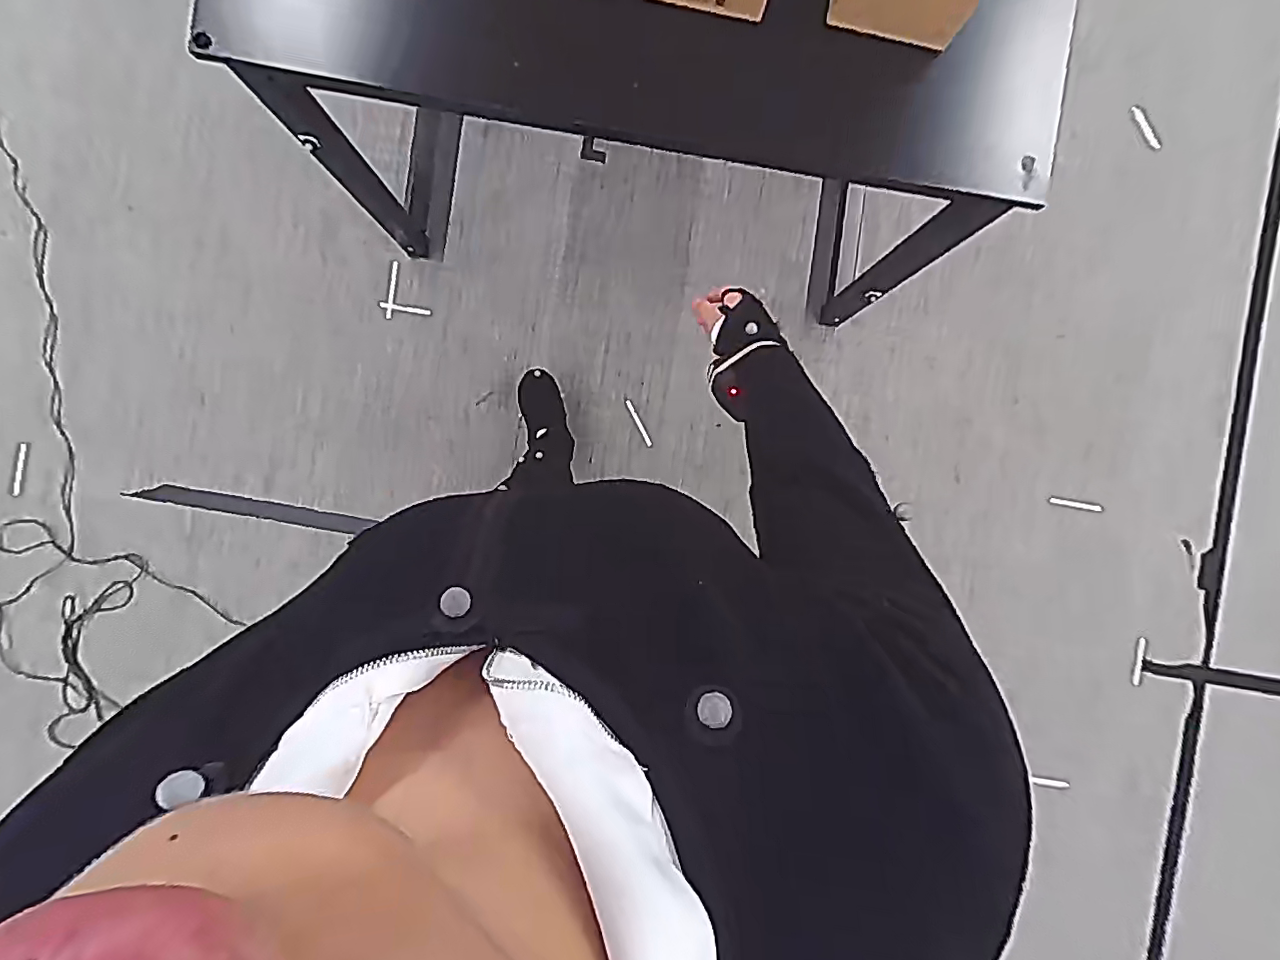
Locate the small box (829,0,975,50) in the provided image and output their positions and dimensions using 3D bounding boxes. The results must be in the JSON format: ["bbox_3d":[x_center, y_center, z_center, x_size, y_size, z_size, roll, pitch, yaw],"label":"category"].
[{"bbox_3d":[0.368,-0.707,0.697,0.179,0.176,0.168,11,90,-4],"label":"small box"}]

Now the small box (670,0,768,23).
[{"bbox_3d":[0.110,-0.740,0.685,0.168,0.176,0.179,10,90,-3],"label":"small box"}]
